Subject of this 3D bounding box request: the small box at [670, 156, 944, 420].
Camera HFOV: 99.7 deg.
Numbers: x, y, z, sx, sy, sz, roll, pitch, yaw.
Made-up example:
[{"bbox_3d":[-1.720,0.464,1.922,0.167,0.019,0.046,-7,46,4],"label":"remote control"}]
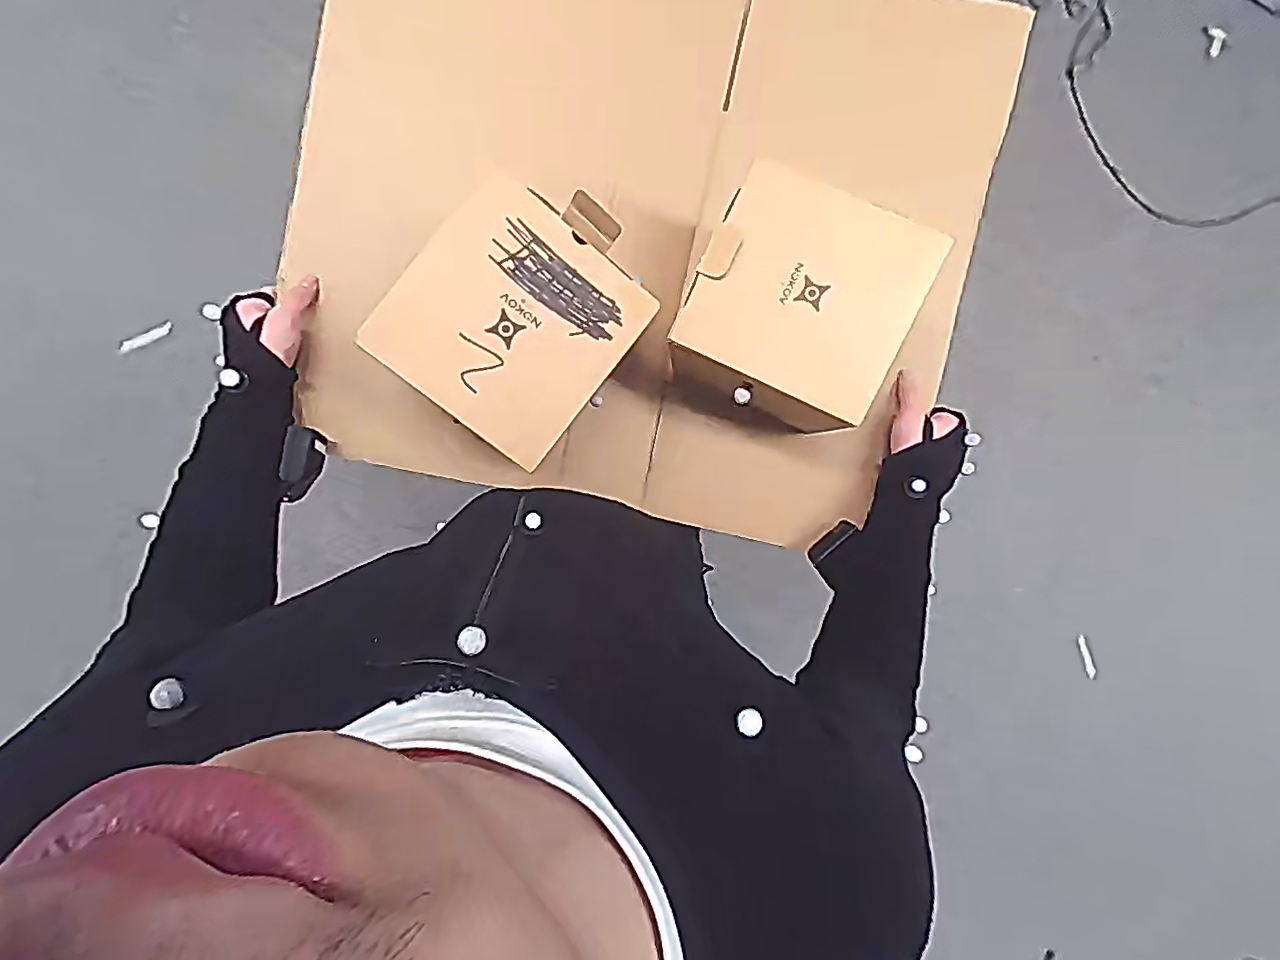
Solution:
[{"bbox_3d":[0.145,-0.167,0.530,0.179,0.176,0.168,25,95,5],"label":"small box"}]
